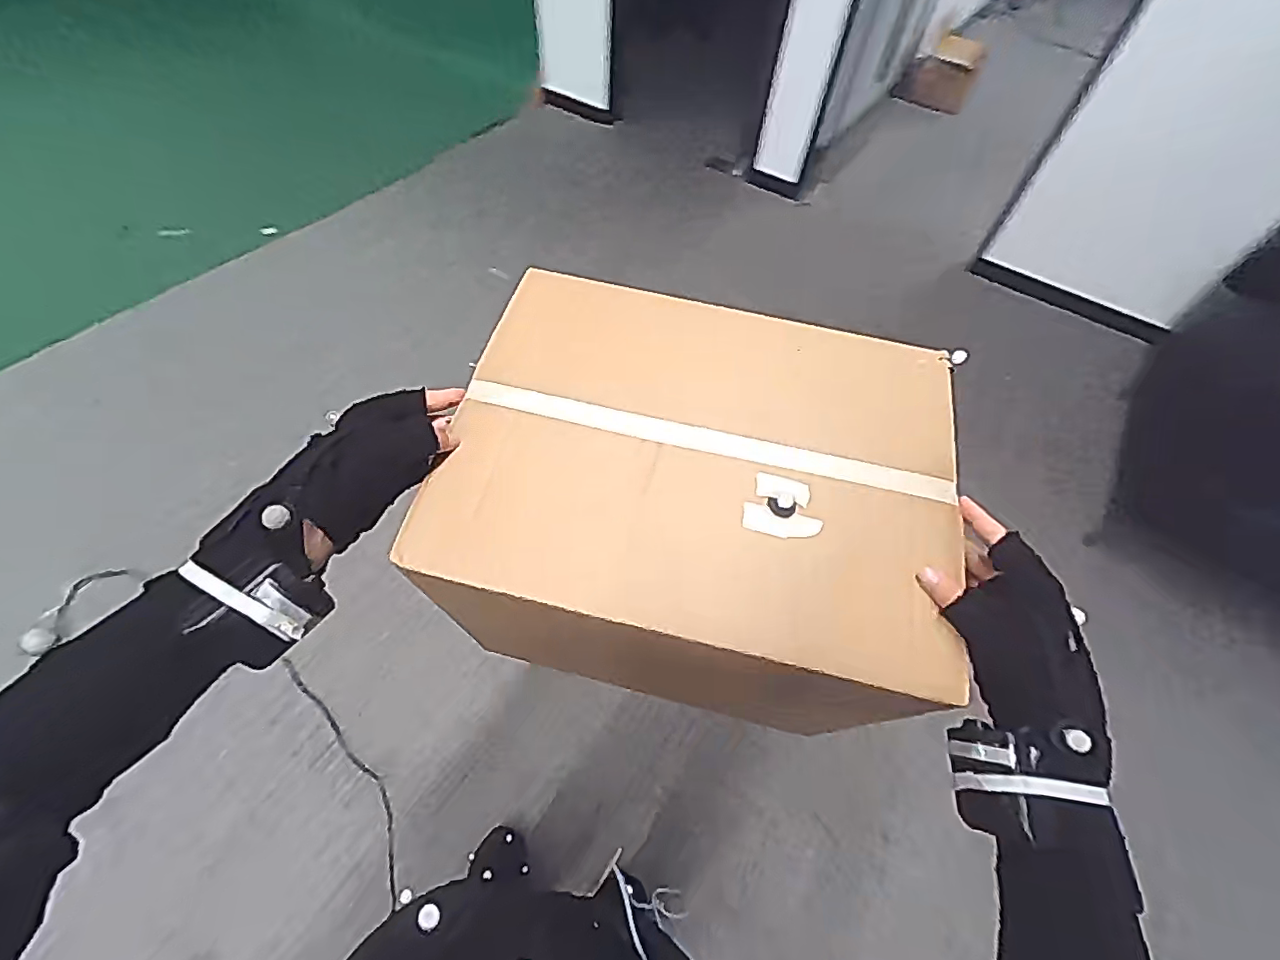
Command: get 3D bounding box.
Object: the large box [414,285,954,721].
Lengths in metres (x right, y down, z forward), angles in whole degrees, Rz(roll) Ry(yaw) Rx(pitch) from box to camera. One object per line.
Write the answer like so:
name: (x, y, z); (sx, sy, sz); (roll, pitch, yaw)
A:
large box: (0.045, 0.044, 0.586); (0.408, 0.320, 0.320); (12, 62, 3)
